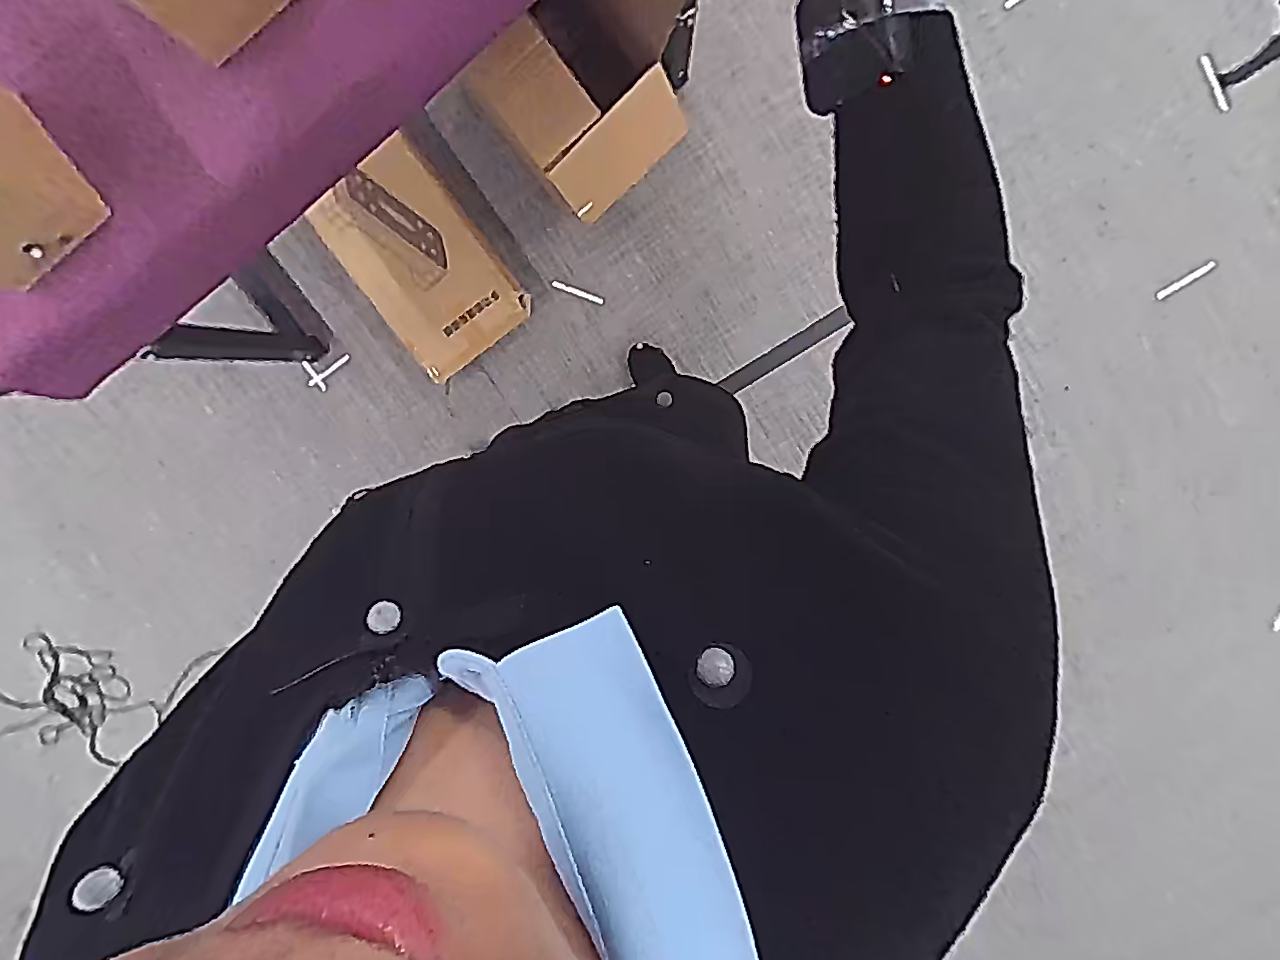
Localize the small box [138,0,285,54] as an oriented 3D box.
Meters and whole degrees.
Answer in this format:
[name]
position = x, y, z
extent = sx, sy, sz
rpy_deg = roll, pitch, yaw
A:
[small box]
position = -0.478, -0.597, 0.542
extent = 0.179, 0.176, 0.168
rpy_deg = -34, 97, 7
